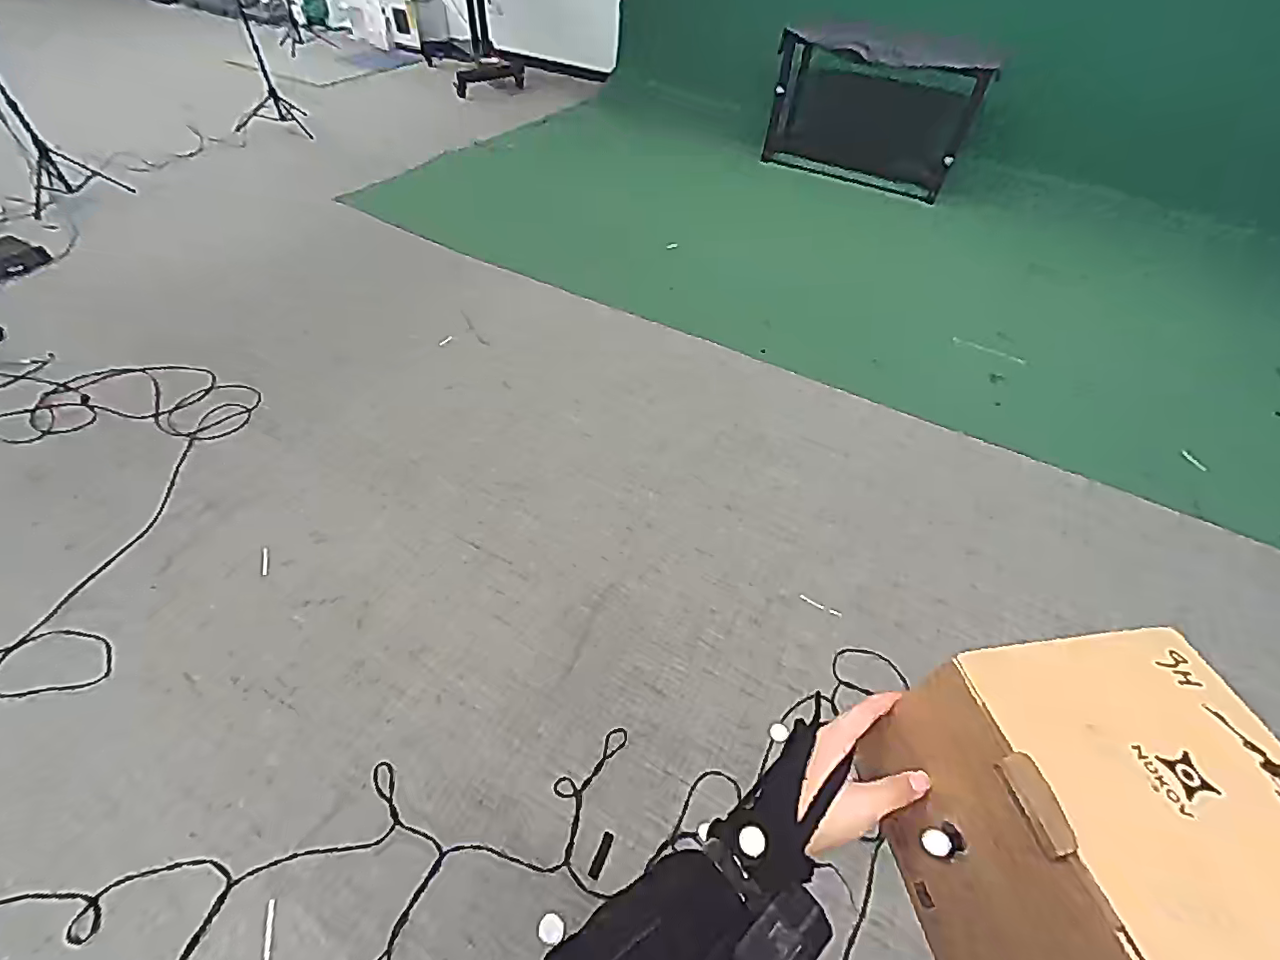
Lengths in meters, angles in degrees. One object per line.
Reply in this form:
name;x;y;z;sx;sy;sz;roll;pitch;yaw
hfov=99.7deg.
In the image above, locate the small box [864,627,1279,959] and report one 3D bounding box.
small box;0.277;0.220;0.360;0.179;0.176;0.168;-3;47;-11
